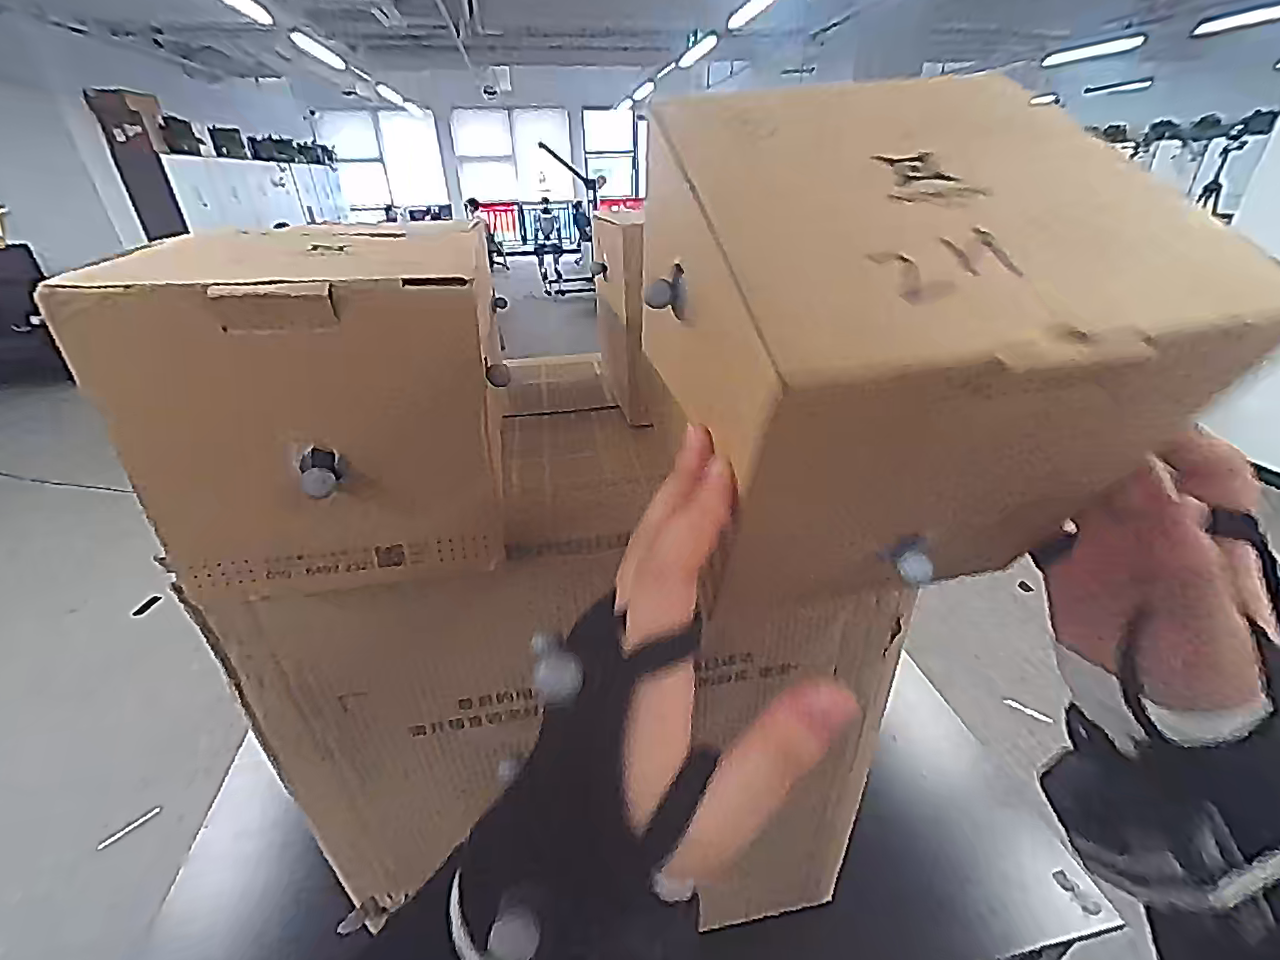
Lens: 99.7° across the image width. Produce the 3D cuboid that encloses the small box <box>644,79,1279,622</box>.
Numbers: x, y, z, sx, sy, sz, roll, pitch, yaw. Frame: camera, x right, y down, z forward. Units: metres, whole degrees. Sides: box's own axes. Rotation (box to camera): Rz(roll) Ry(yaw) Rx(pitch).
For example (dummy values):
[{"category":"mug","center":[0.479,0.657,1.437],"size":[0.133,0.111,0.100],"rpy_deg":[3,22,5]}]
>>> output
[{"category":"small box","center":[0.098,-0.053,0.256],"size":[0.168,0.176,0.179],"rpy_deg":[-9,58,-7]}]

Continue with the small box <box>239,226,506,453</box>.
[{"category":"small box","center":[-0.223,-0.139,0.507],"size":[0.168,0.176,0.179],"rpy_deg":[-7,30,-9]}]
